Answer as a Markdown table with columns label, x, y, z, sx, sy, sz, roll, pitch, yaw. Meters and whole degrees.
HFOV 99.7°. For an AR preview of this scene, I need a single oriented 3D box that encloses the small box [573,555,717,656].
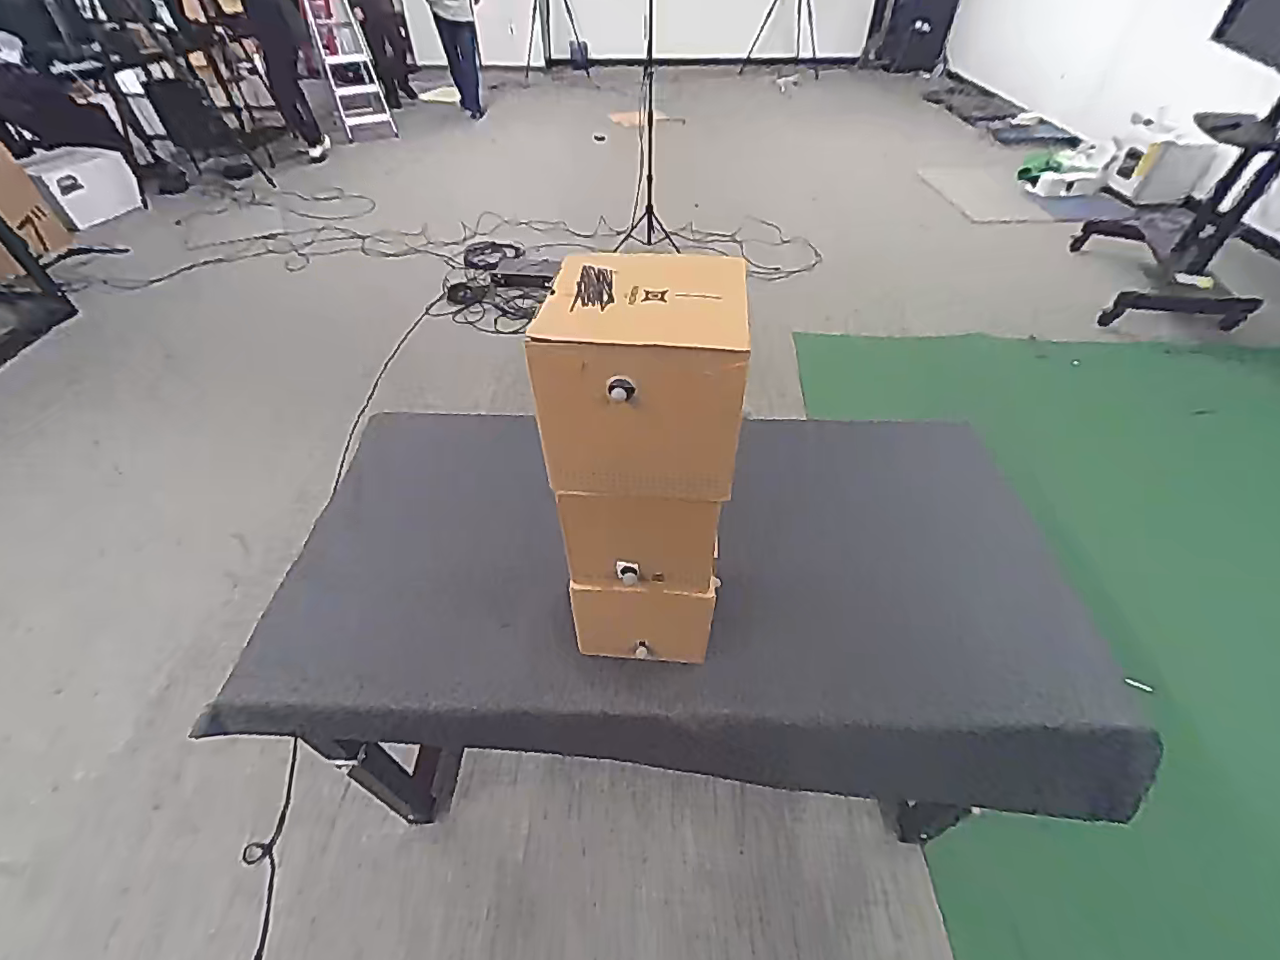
| label | x | y | z | sx | sy | sz | roll | pitch | yaw |
| --- | --- | --- | --- | --- | --- | --- | --- | --- | --- |
| small box | 0.010 | 0.132 | 0.760 | 0.179 | 0.176 | 0.168 | 3 | 45 | 3 |

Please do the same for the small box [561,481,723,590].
| label | x | y | z | sx | sy | sz | roll | pitch | yaw |
| --- | --- | --- | --- | --- | --- | --- | --- | --- | --- |
| small box | 0.008 | 0.011 | 0.652 | 0.168 | 0.176 | 0.179 | 1 | 46 | 4 |

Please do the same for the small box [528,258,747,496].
| label | x | y | z | sx | sy | sz | roll | pitch | yaw |
| --- | --- | --- | --- | --- | --- | --- | --- | --- | --- |
| small box | 0.007 | -0.100 | 0.530 | 0.179 | 0.176 | 0.168 | 4 | 45 | 5 |
